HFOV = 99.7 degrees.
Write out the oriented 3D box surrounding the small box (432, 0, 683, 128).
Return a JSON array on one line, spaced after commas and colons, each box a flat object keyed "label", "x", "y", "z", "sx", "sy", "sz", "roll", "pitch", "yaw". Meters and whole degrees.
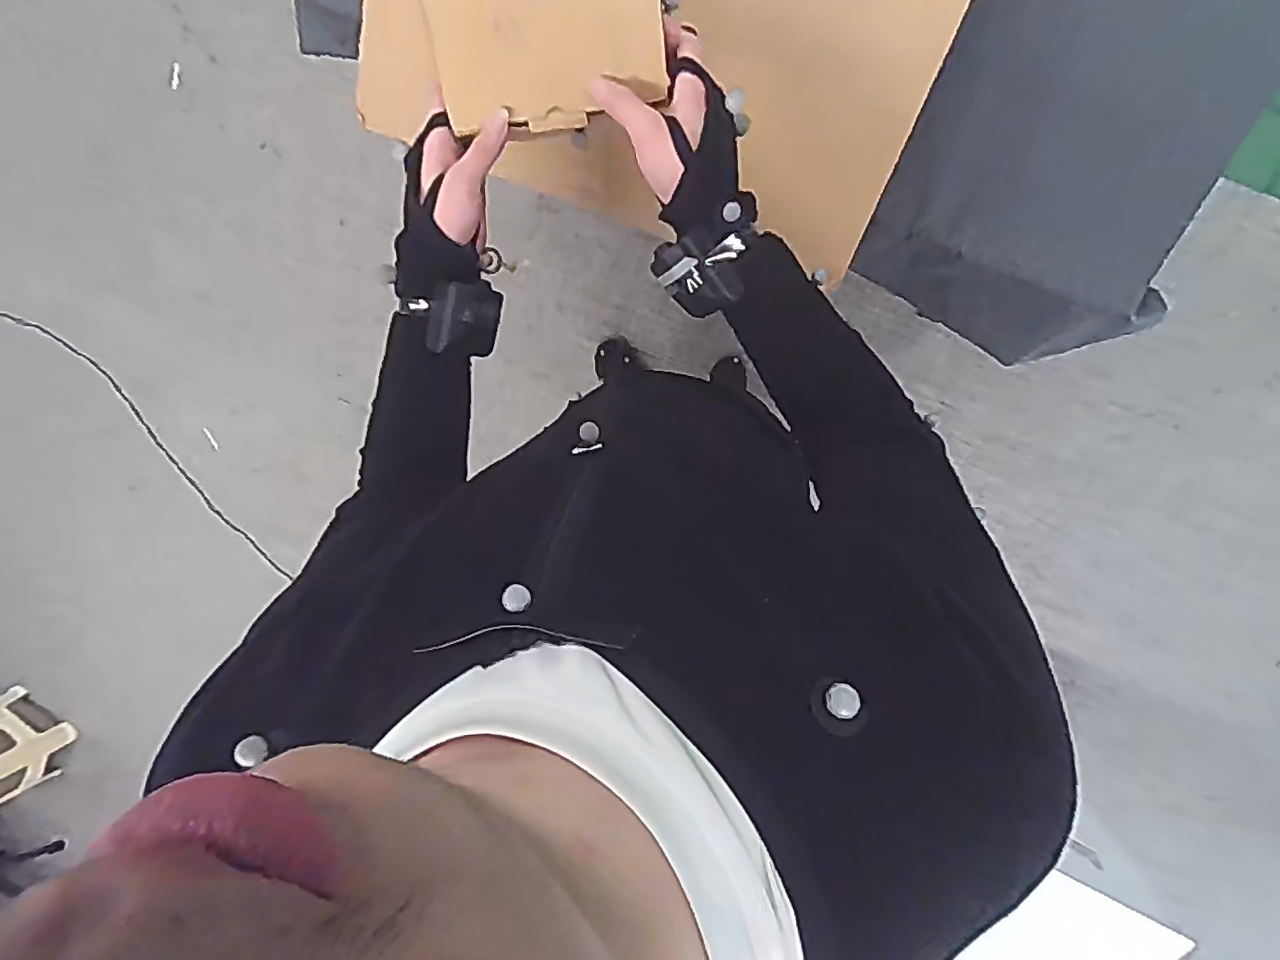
[{"label": "small box", "x": -0.057, "y": -0.391, "z": 0.424, "sx": 0.168, "sy": 0.176, "sz": 0.179, "roll": -5, "pitch": 120, "yaw": 9}]
